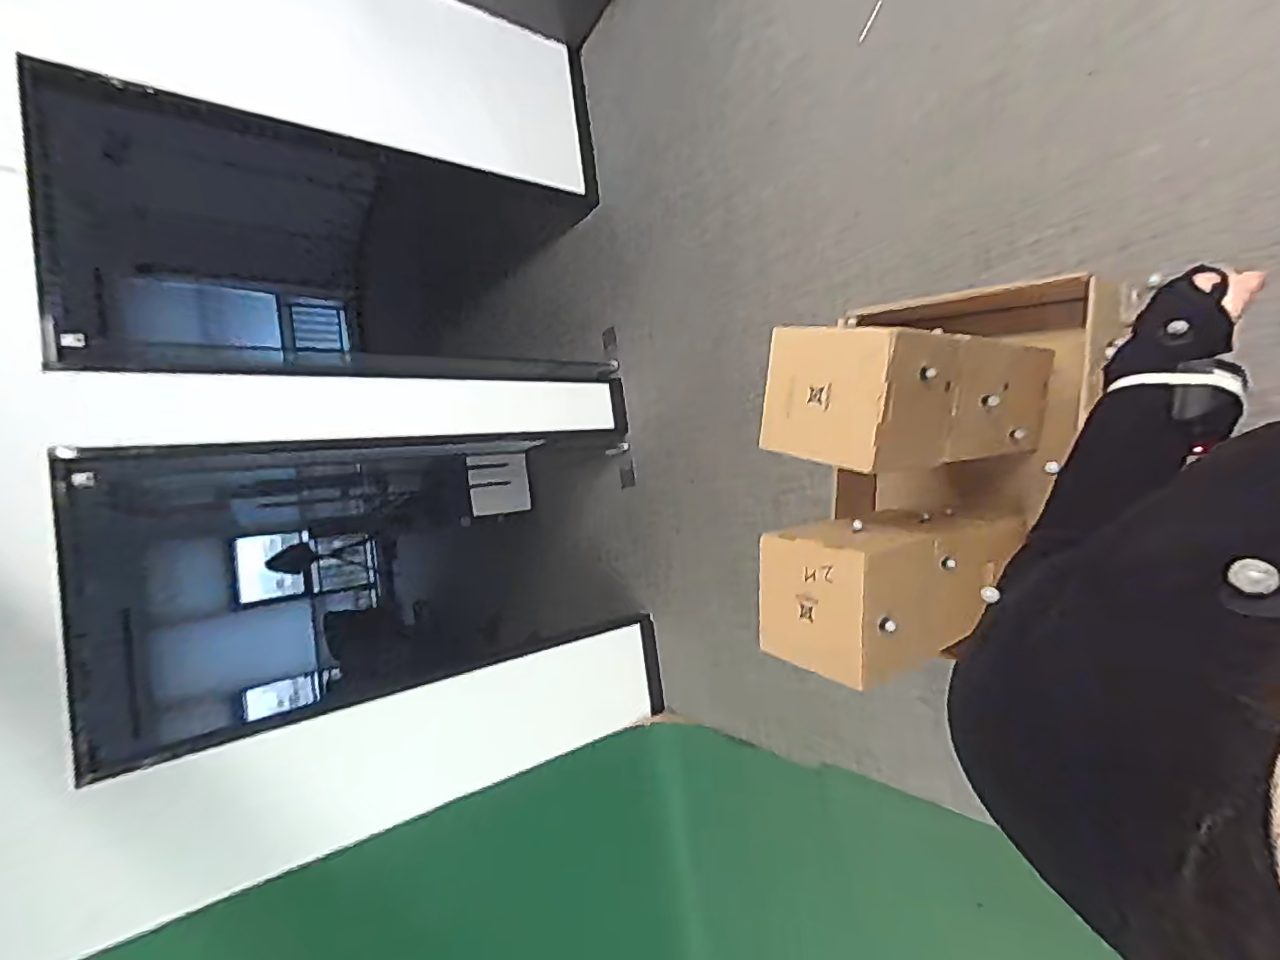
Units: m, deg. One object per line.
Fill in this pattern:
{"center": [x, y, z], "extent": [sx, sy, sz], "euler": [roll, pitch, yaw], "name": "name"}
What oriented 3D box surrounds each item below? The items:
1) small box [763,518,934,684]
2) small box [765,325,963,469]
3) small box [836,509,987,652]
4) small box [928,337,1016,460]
{"center": [0.295, 0.157, 0.771], "extent": [0.168, 0.176, 0.179], "euler": [8, 99, 54], "name": "small box"}
{"center": [0.299, -0.117, 0.728], "extent": [0.179, 0.176, 0.168], "euler": [23, 112, 53], "name": "small box"}
{"center": [0.429, 0.148, 0.867], "extent": [0.168, 0.176, 0.179], "euler": [8, 99, 55], "name": "small box"}
{"center": [0.433, -0.130, 0.821], "extent": [0.179, 0.176, 0.168], "euler": [20, 110, 52], "name": "small box"}
